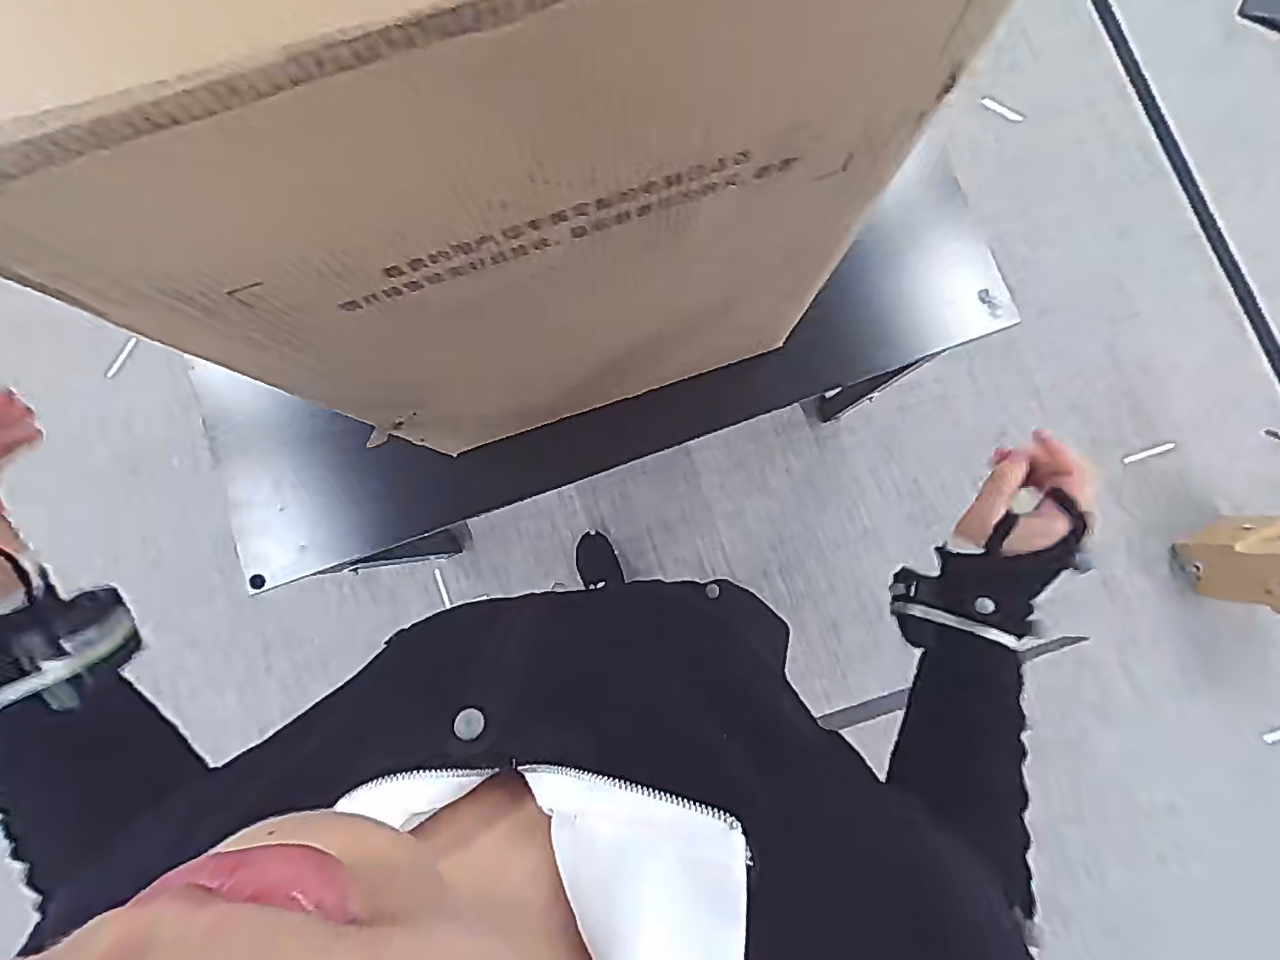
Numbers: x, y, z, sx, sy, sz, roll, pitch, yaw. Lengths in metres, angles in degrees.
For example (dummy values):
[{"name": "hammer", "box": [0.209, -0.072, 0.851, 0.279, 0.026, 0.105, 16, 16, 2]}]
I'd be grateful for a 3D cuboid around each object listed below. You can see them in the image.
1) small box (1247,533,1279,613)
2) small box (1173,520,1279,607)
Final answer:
[{"name": "small box", "box": [1.558, 0.207, 1.225, 0.179, 0.176, 0.168, -26, 84, -1]}, {"name": "small box", "box": [1.556, 0.206, 1.390, 0.179, 0.176, 0.168, -25, 84, 0]}]
